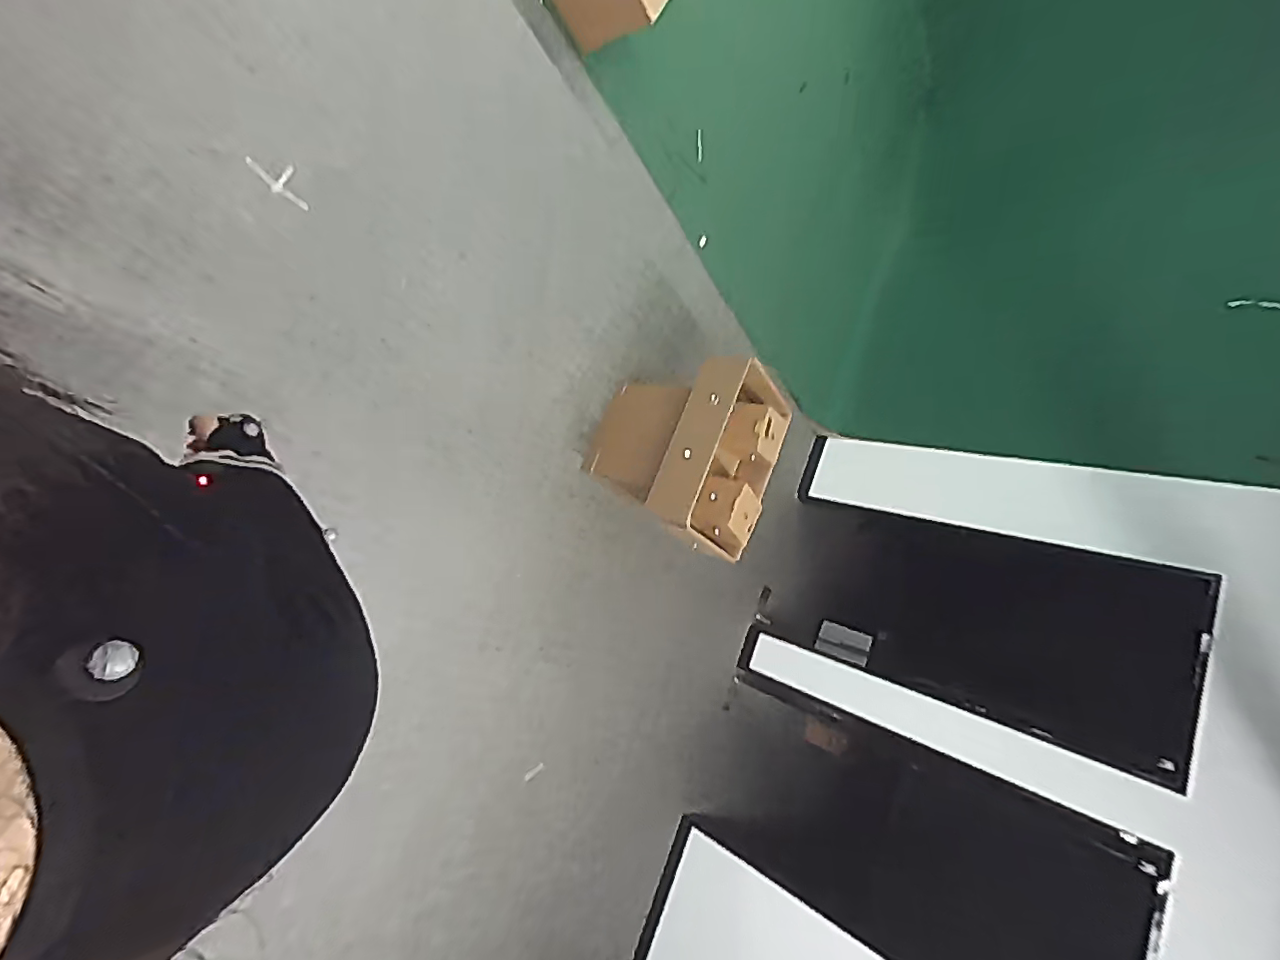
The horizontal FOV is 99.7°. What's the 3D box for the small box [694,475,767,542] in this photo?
[{"bbox_3d":[0.315,0.095,1.894,0.179,0.176,0.168,45,66,-44],"label":"small box"}]
